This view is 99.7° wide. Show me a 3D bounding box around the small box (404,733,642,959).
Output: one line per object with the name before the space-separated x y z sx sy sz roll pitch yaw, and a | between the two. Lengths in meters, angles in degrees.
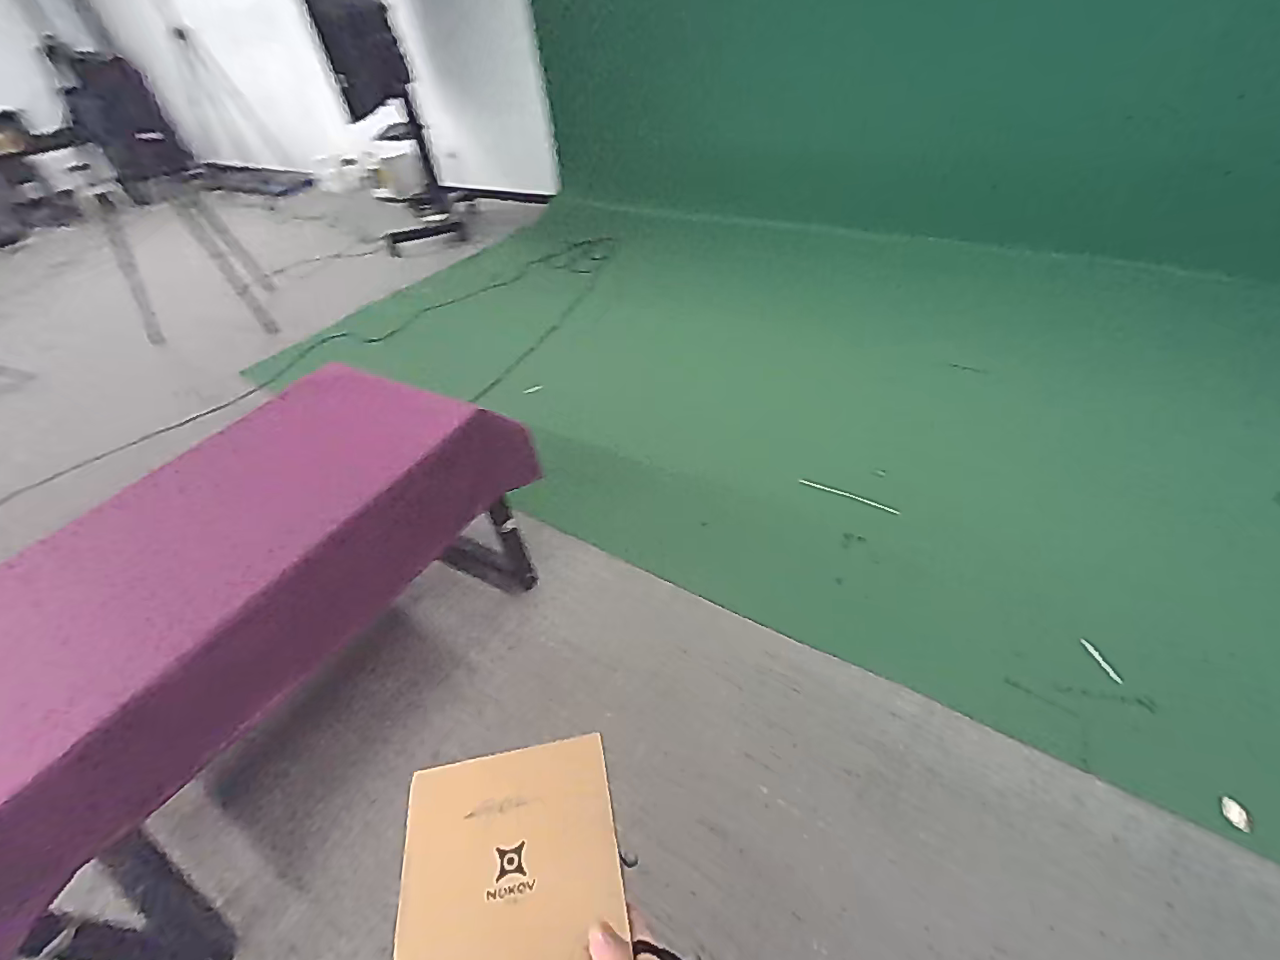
small box | -0.090 0.353 0.471 0.168 0.176 0.179 -7 43 -7
